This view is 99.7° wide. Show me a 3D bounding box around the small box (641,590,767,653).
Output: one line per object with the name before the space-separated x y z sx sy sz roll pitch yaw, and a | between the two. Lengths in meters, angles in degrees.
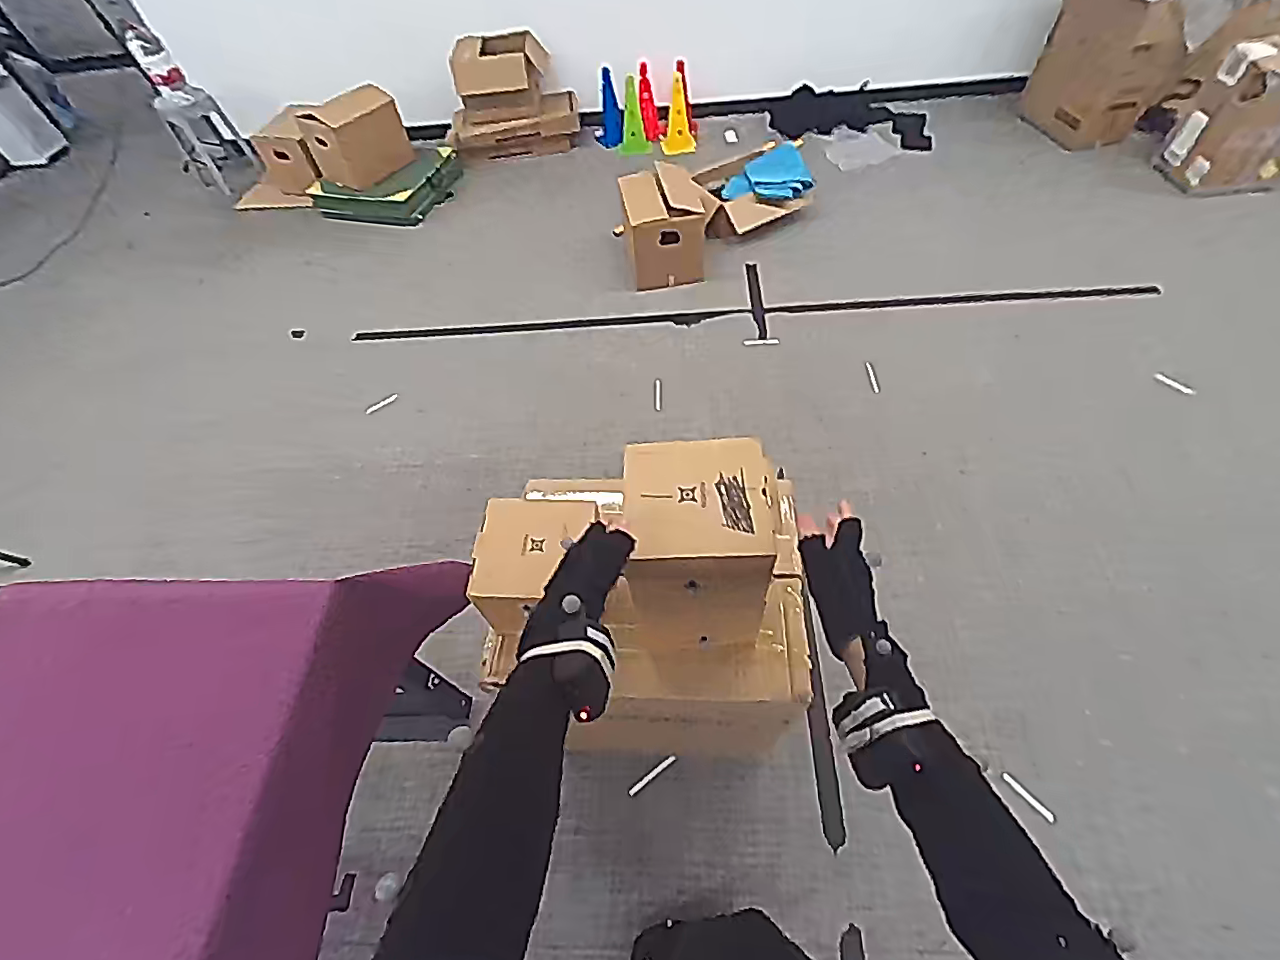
small box | 0.088 0.160 0.847 0.179 0.176 0.168 -6 55 1

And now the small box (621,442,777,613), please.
small box | 0.074 0.068 0.711 0.179 0.176 0.168 -2 55 5
